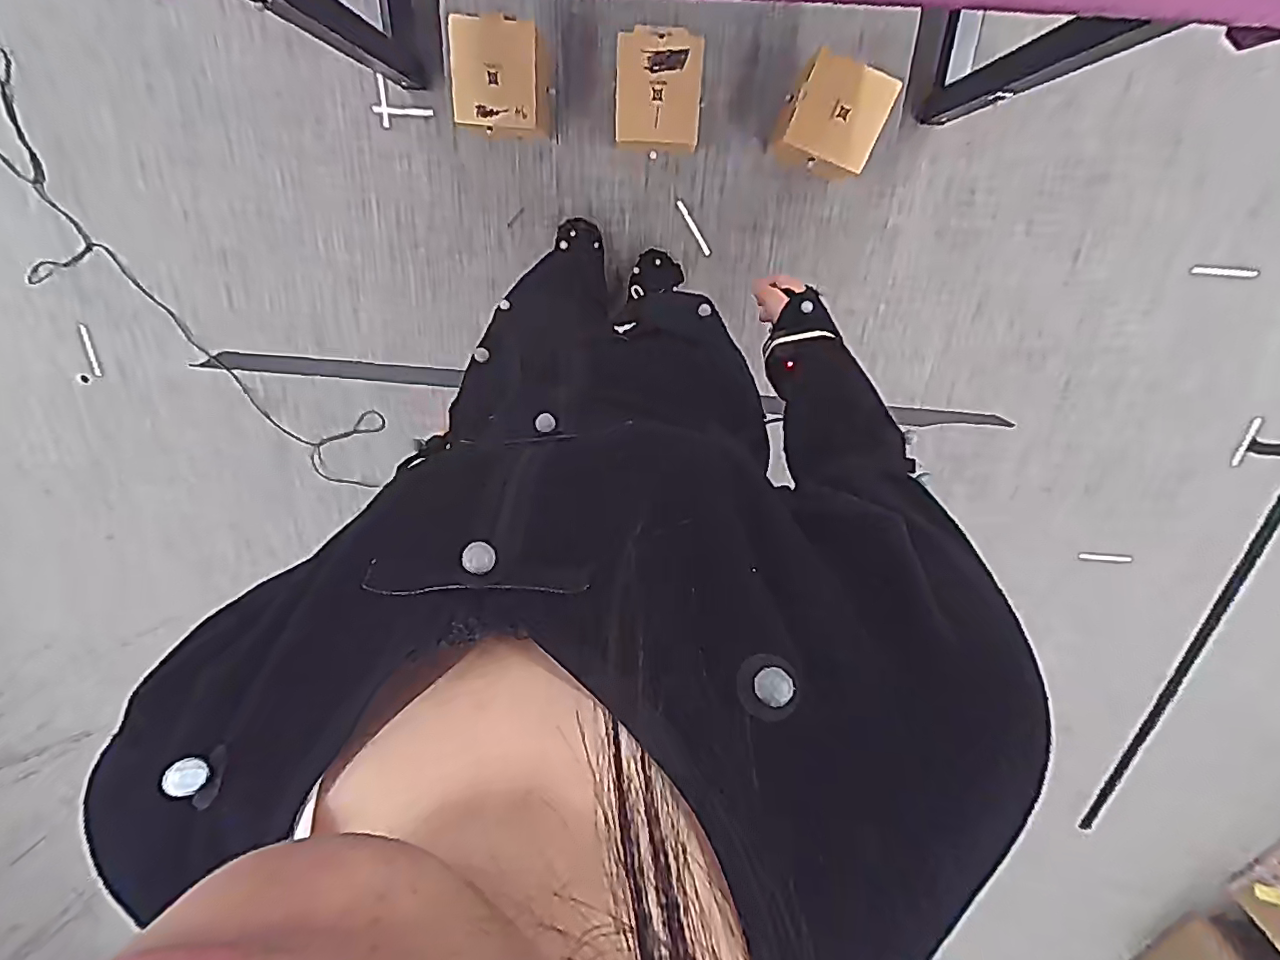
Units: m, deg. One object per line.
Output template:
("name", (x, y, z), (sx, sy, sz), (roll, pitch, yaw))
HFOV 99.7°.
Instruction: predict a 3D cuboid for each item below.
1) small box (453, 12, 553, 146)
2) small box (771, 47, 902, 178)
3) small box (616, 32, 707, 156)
("small box", (-0.276, -0.812, 1.111), (0.168, 0.176, 0.179), (6, 113, -1))
("small box", (0.395, -0.745, 1.120), (0.179, 0.176, 0.168), (20, 114, -6))
("small box", (0.040, -0.783, 1.112), (0.168, 0.176, 0.179), (3, 115, 1))
